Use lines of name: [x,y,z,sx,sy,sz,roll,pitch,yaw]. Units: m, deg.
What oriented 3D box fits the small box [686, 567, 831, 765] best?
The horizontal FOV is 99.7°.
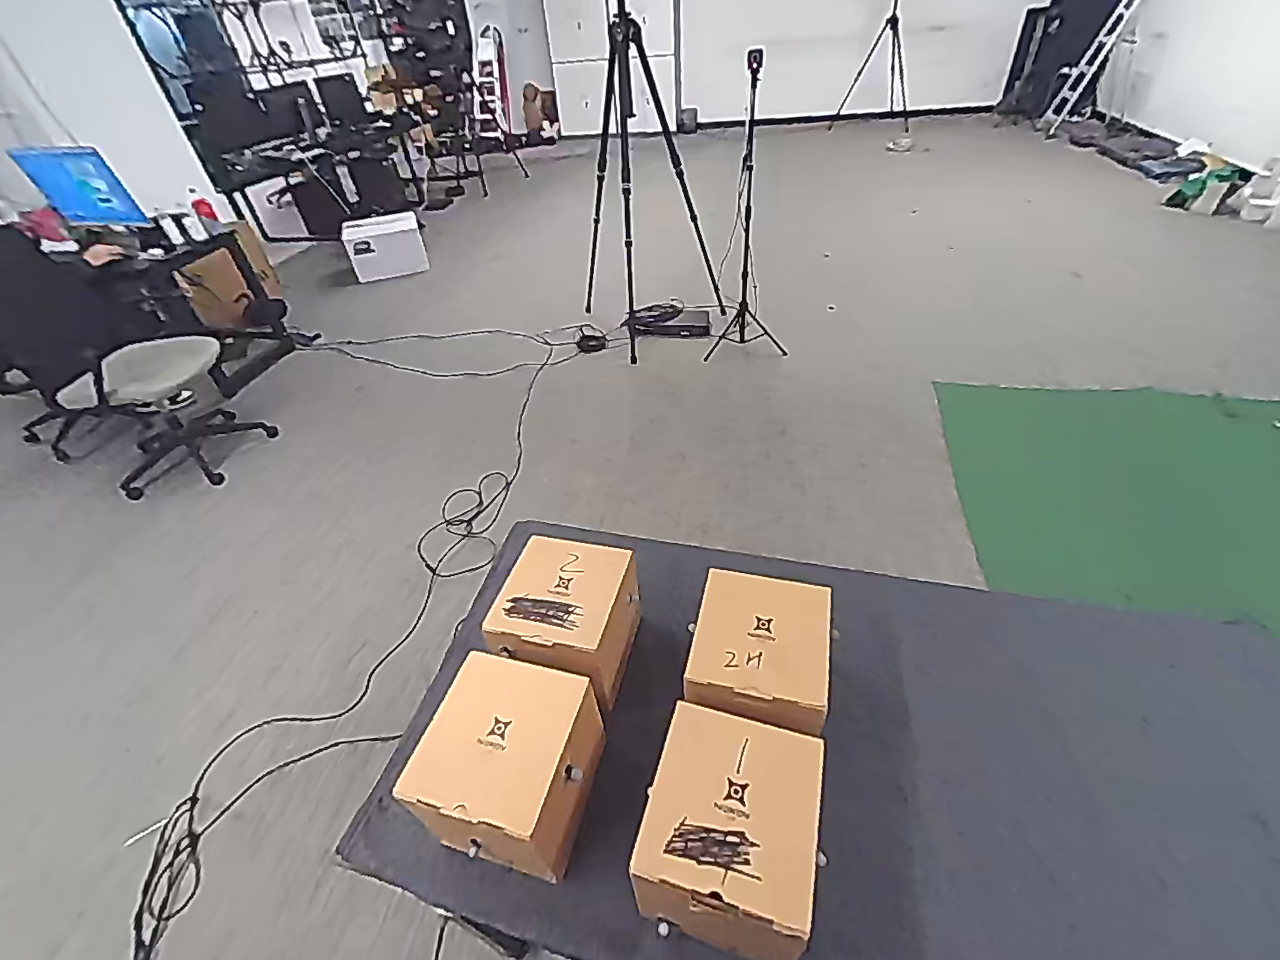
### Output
small box: [0.160,0.251,0.738,0.168,0.176,0.179,8,43,15]
